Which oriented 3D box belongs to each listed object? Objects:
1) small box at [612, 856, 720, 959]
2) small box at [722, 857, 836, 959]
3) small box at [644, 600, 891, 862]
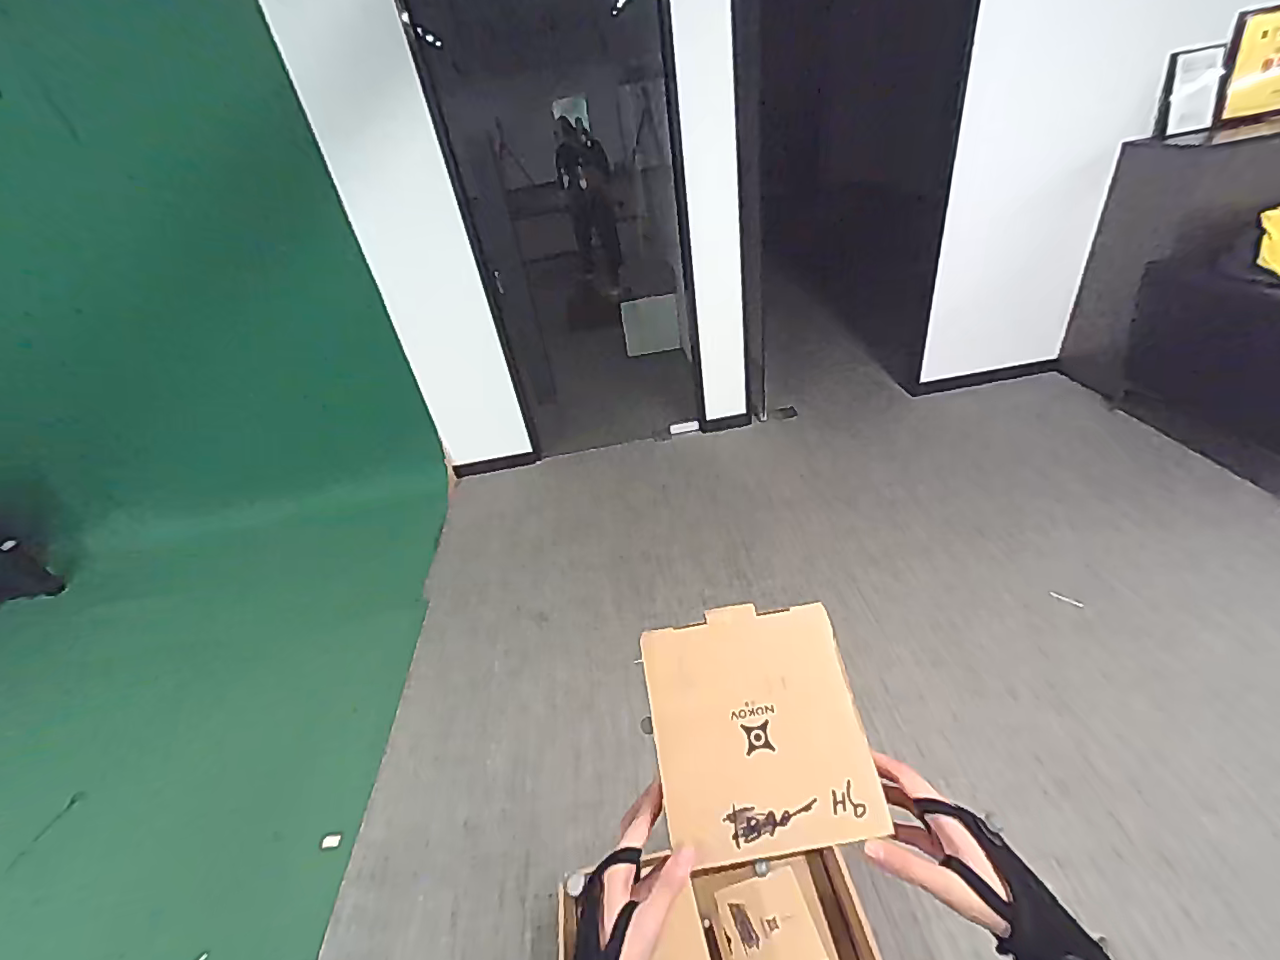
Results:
[{"bbox_3d":[0.052,0.844,1.012,0.168,0.176,0.179,-13,37,-6],"label":"small box"},{"bbox_3d":[0.285,0.925,1.115,0.179,0.176,0.168,-16,36,-5],"label":"small box"},{"bbox_3d":[0.099,0.229,0.508,0.168,0.176,0.179,-10,64,0],"label":"small box"}]
